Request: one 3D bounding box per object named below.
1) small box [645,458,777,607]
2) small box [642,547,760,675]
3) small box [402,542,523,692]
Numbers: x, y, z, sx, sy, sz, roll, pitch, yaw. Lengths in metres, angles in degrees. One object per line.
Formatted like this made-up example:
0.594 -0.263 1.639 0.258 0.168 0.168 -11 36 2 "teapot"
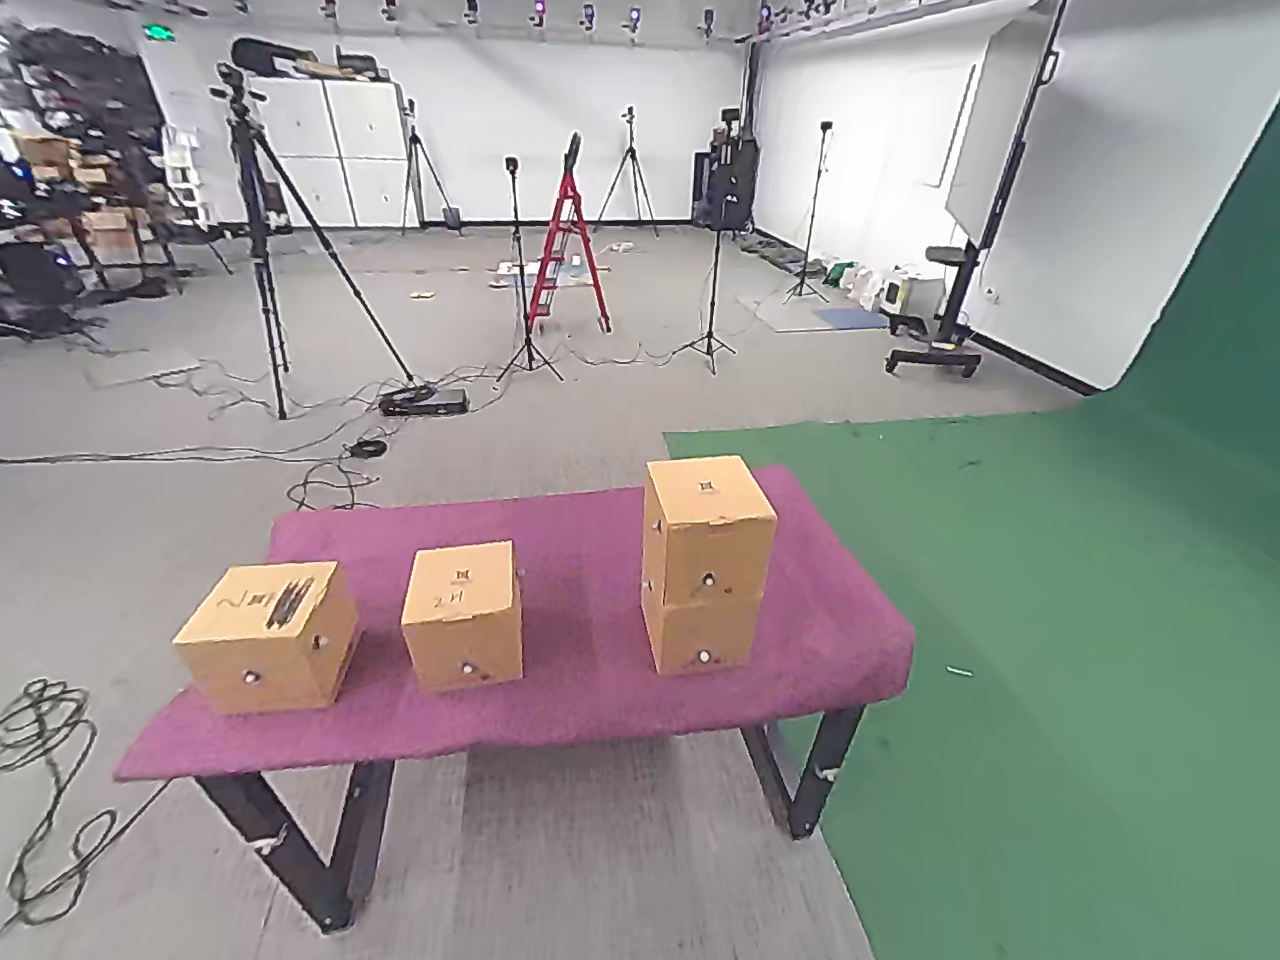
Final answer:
0.103 0.082 0.887 0.168 0.176 0.179 -5 34 -9 "small box"
0.098 0.220 0.972 0.168 0.176 0.179 -4 34 -9 "small box"
-0.295 0.232 0.932 0.168 0.176 0.179 -6 33 -10 "small box"
